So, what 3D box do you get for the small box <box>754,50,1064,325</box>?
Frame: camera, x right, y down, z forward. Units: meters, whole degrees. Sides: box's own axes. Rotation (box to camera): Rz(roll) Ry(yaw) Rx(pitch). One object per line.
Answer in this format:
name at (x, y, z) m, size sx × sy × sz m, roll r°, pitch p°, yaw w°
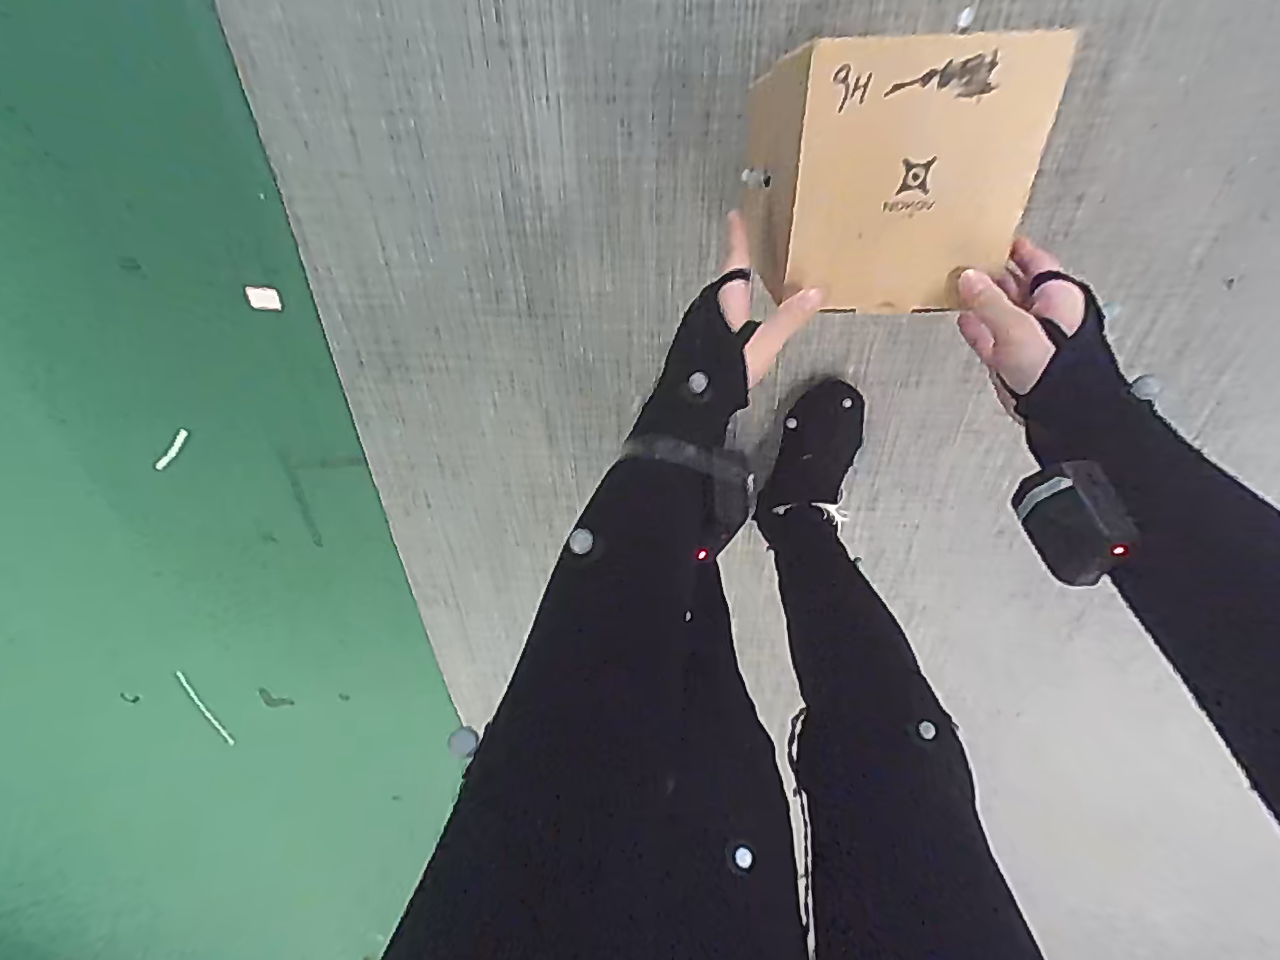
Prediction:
small box at (0.193, -0.244, 0.457) m, size 0.168 × 0.176 × 0.179 m, roll 0°, pitch 123°, yaw 3°
